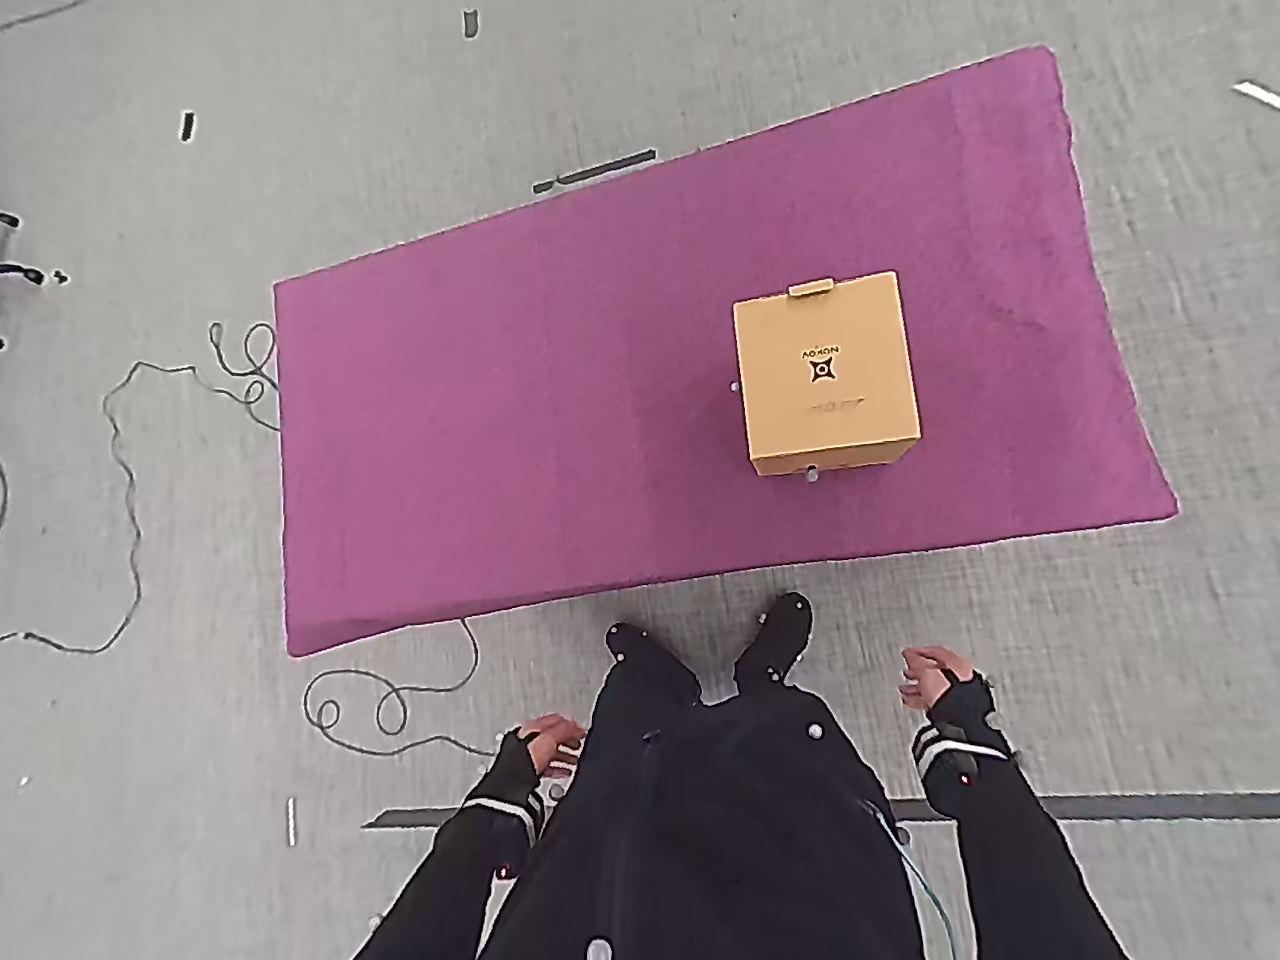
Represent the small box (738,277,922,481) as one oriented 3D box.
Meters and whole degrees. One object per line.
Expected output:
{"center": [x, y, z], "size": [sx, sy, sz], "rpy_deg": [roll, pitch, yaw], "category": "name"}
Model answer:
{"center": [0.208, -0.101, 0.623], "size": [0.168, 0.176, 0.179], "rpy_deg": [-6, 81, 16], "category": "small box"}
